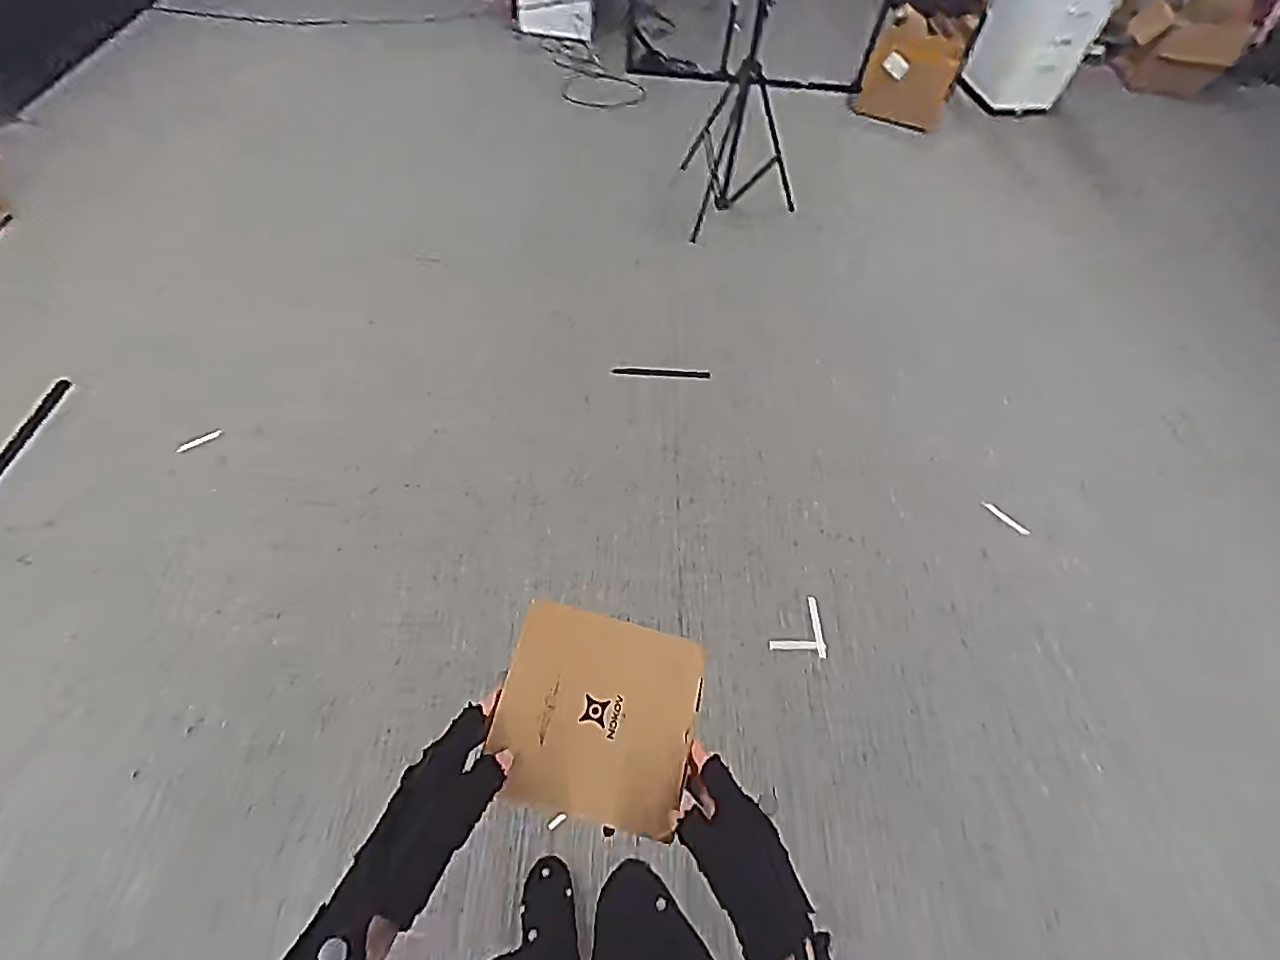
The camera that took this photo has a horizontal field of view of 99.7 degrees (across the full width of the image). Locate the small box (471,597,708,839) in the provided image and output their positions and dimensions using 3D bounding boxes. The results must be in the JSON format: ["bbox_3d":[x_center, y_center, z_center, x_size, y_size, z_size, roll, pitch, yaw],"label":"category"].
[{"bbox_3d":[-0.050,0.236,0.549,0.179,0.176,0.168,16,63,-2],"label":"small box"}]
